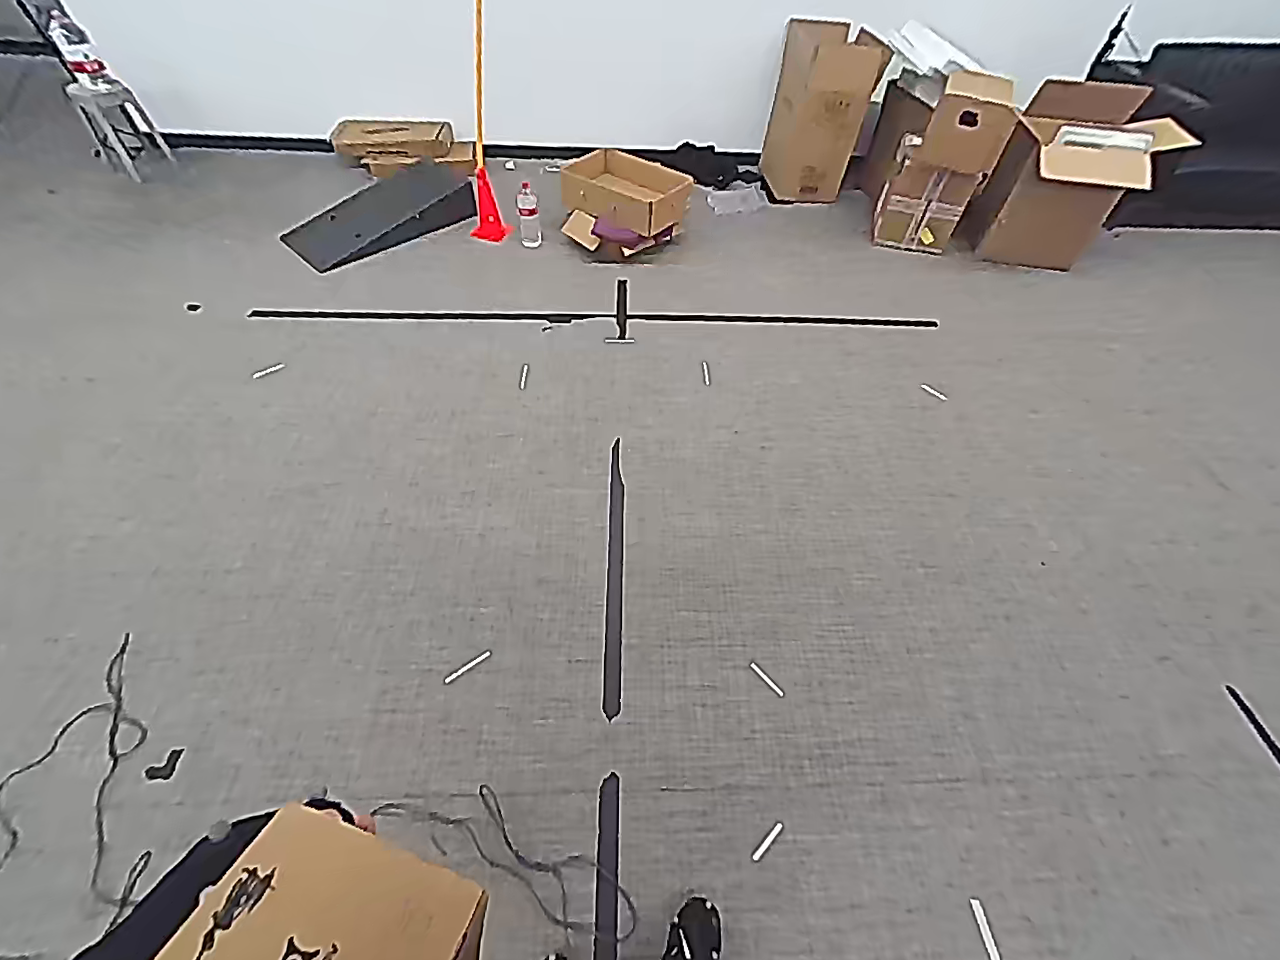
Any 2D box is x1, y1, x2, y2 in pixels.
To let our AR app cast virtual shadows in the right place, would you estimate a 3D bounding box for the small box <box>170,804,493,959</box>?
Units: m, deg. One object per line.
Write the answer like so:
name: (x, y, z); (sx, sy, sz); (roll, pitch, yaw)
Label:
small box: (-0.230, 0.388, 0.396); (0.179, 0.176, 0.168); (19, 31, 6)
